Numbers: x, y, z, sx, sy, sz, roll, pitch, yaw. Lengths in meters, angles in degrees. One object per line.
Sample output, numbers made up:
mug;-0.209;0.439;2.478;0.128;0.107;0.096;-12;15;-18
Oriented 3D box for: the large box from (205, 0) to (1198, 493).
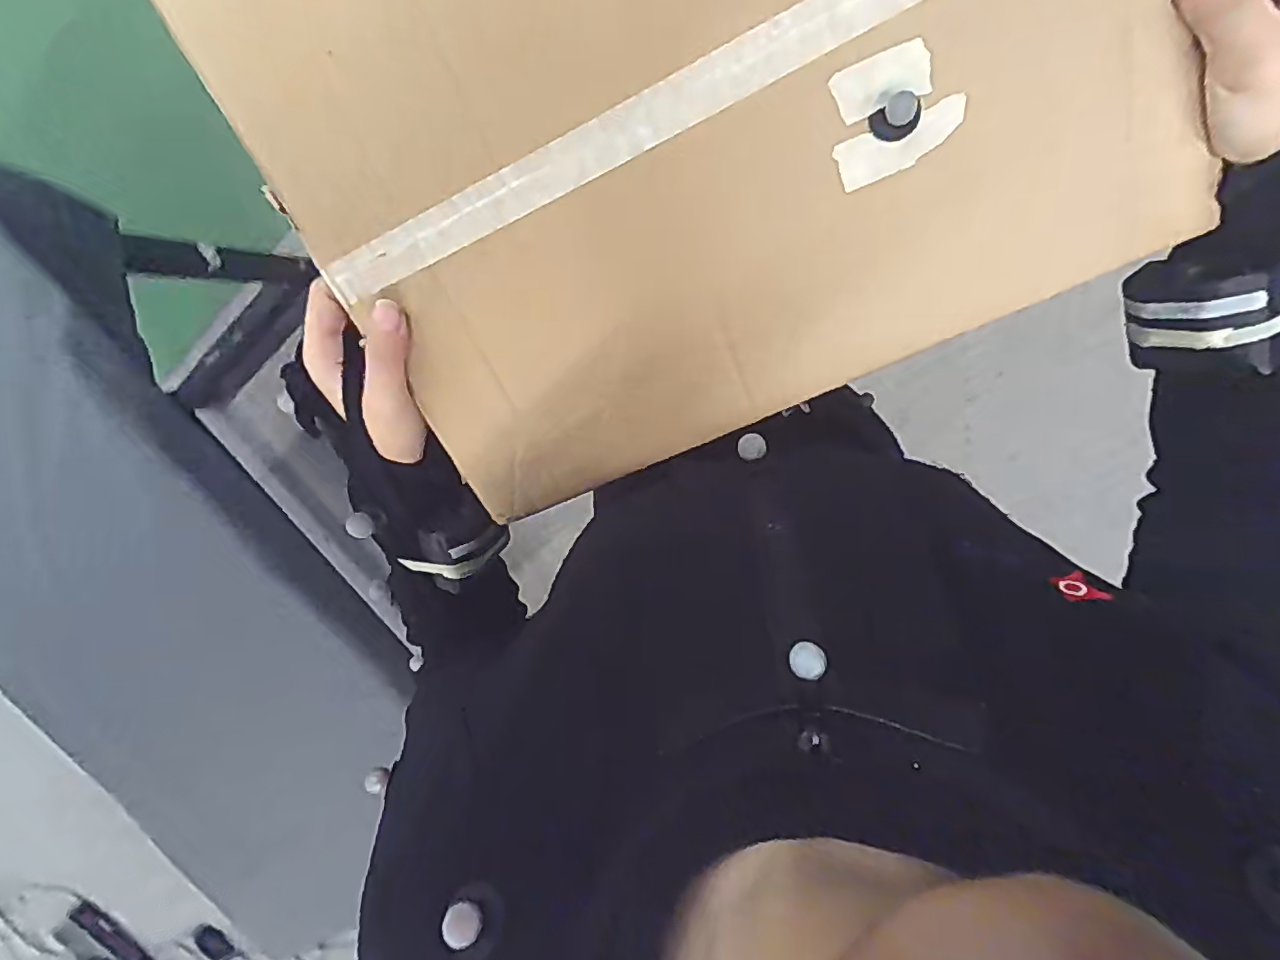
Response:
large box;0.034;-0.252;0.382;0.408;0.320;0.320;-23;114;8
